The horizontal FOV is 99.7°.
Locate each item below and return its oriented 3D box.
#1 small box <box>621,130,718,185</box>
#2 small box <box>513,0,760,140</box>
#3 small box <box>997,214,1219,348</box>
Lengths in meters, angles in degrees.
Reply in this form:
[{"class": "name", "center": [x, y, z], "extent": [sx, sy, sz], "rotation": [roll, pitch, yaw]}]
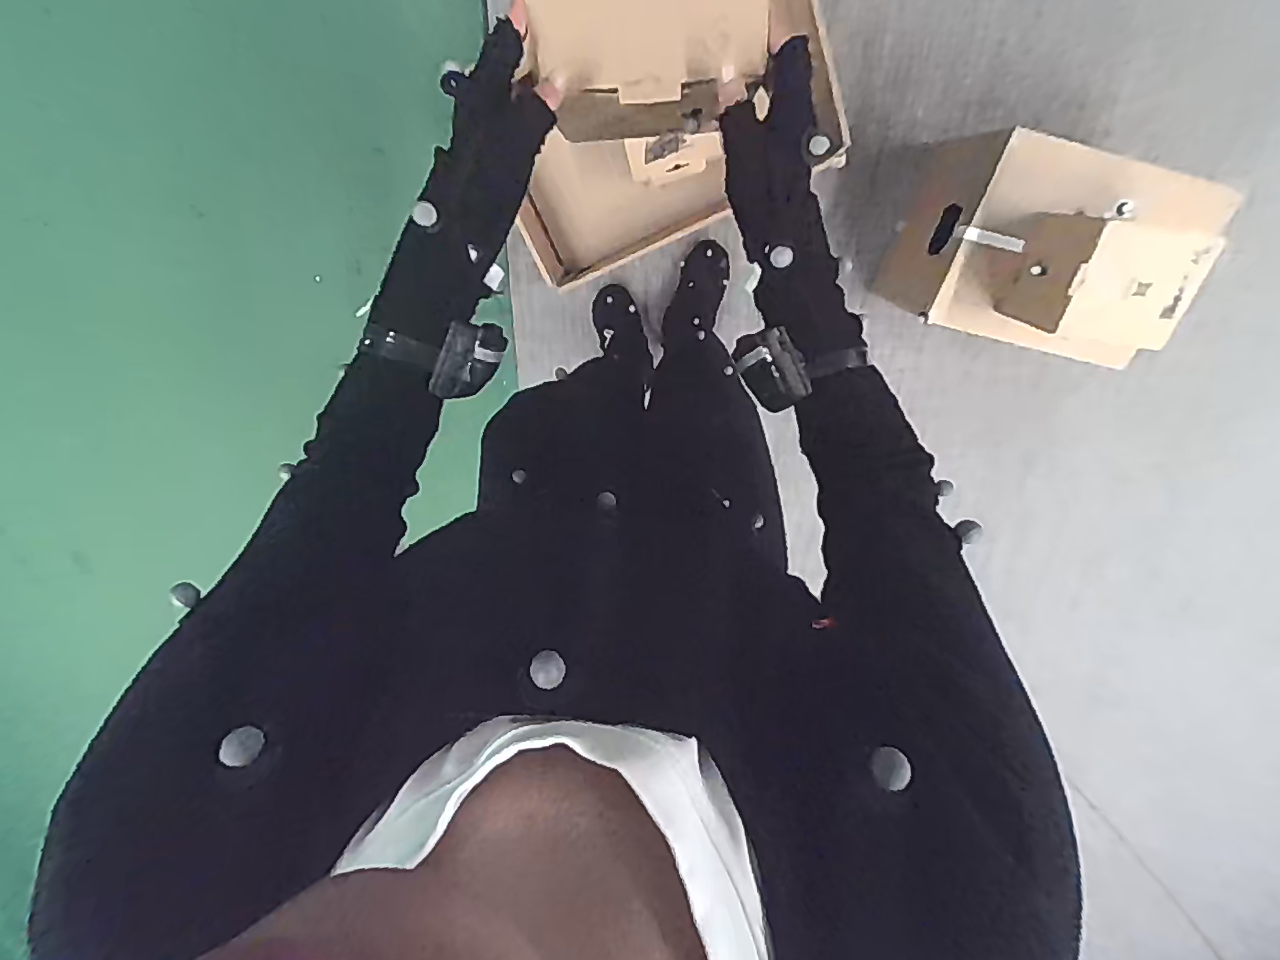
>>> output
[{"class": "small box", "center": [0.048, -0.670, 1.012], "extent": [0.168, 0.176, 0.179], "rotation": [-13, 115, 10]}, {"class": "small box", "center": [-0.002, -0.379, 0.416], "extent": [0.168, 0.176, 0.179], "rotation": [-4, 111, 3]}, {"class": "small box", "center": [0.724, -0.324, 0.866], "extent": [0.179, 0.176, 0.168], "rotation": [8, 119, -1]}]
